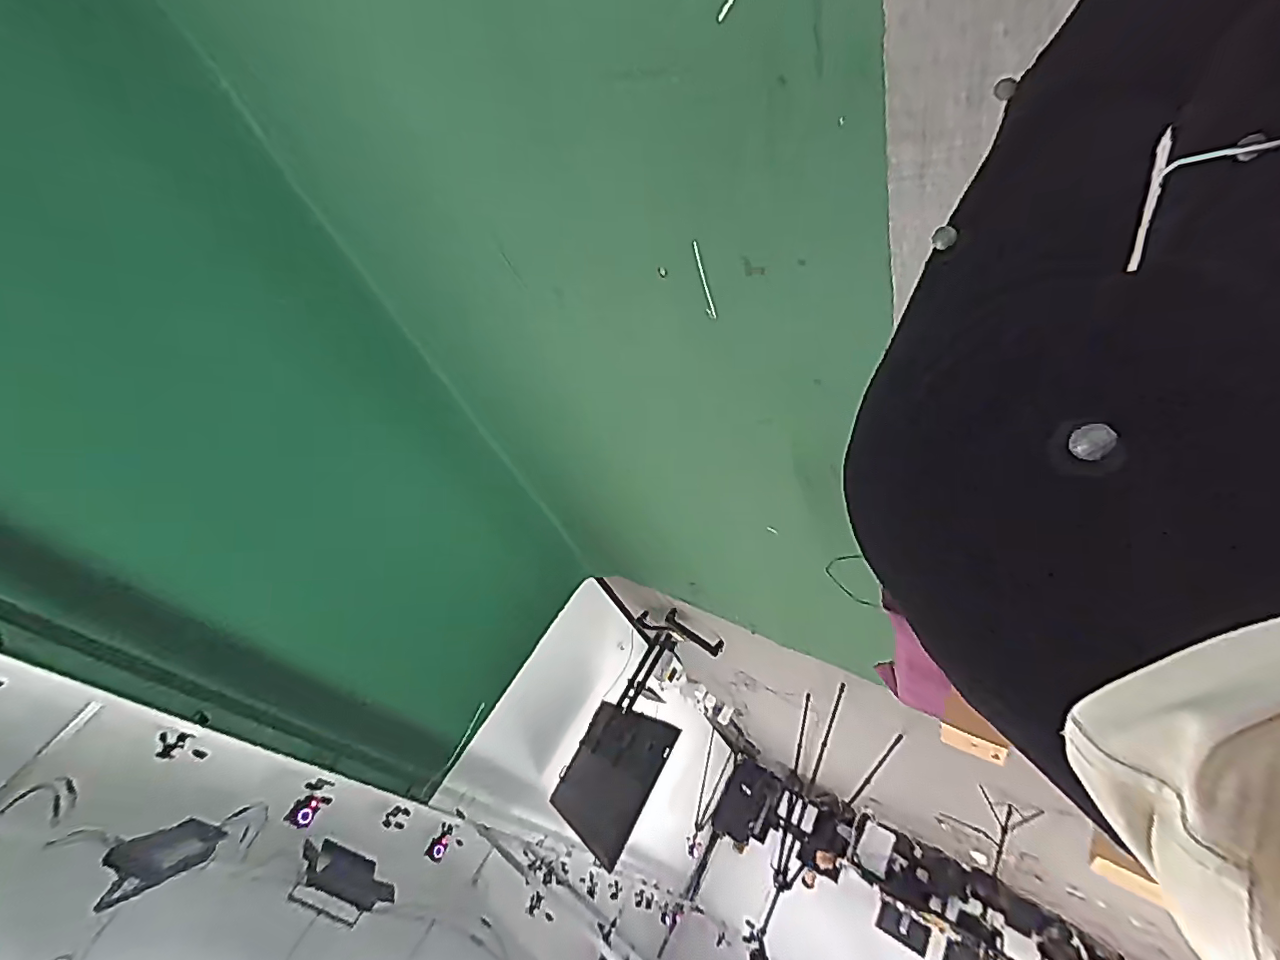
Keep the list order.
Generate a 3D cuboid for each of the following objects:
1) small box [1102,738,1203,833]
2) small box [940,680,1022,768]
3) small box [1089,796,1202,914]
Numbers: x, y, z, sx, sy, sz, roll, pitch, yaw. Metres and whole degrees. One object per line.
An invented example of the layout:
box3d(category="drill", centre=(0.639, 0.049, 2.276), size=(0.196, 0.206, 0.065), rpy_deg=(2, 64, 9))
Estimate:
box3d(category="small box", centre=(1.345, 0.813, 1.424), size=(0.168, 0.176, 0.179), rpy_deg=(13, 147, 37))
box3d(category="small box", centre=(1.040, 0.739, 1.656), size=(0.179, 0.176, 0.168), rpy_deg=(14, 148, 36))
box3d(category="small box", centre=(1.261, 0.932, 1.351), size=(0.179, 0.176, 0.168), rpy_deg=(14, 147, 38))
